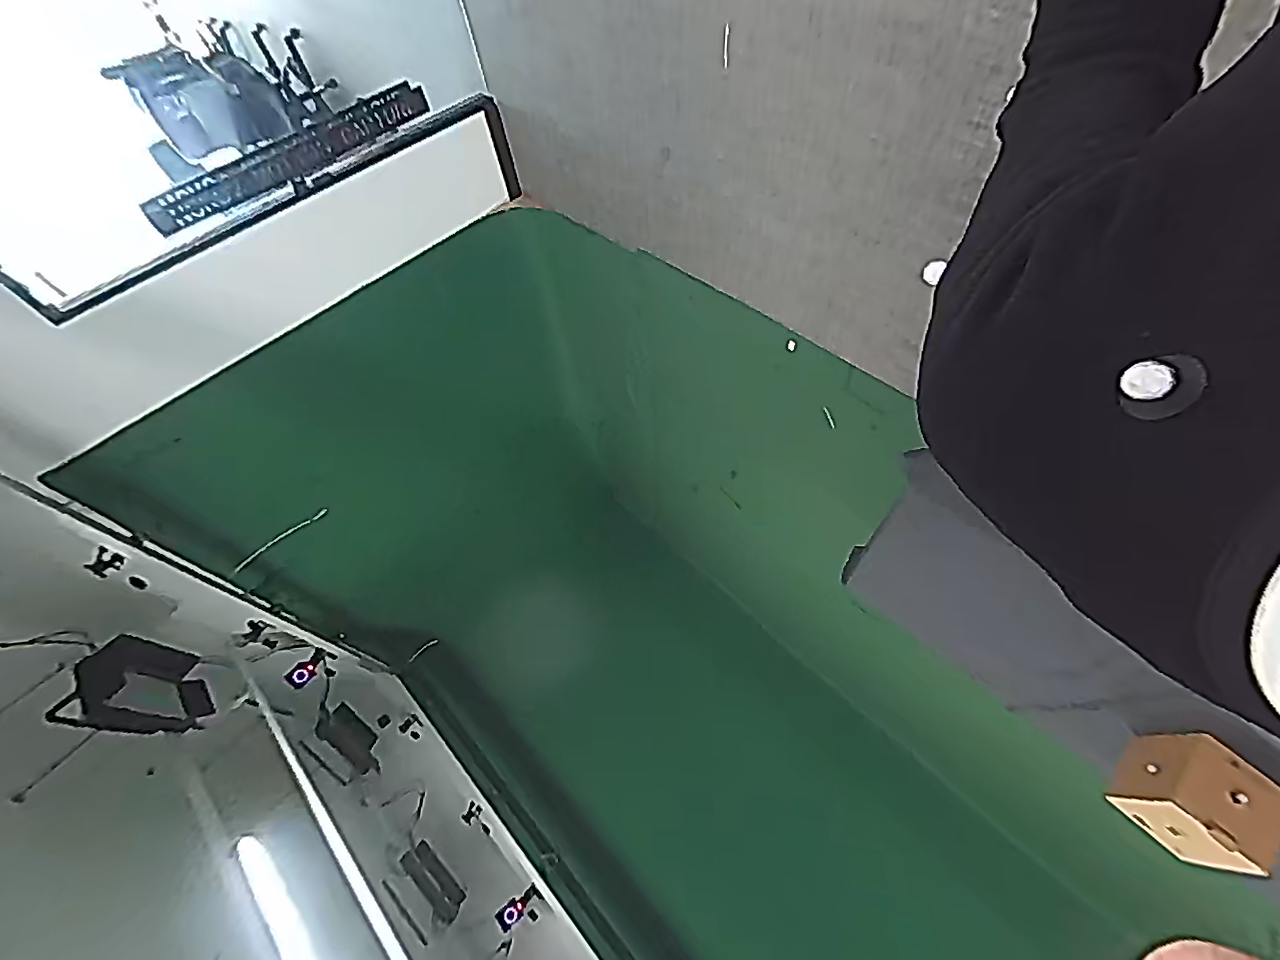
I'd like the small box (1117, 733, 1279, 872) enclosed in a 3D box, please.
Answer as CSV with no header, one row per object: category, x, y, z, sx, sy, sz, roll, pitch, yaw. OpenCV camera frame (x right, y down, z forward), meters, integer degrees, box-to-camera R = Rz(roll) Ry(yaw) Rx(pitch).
small box,1.119,0.627,1.071,0.168,0.176,0.179,39,159,21
